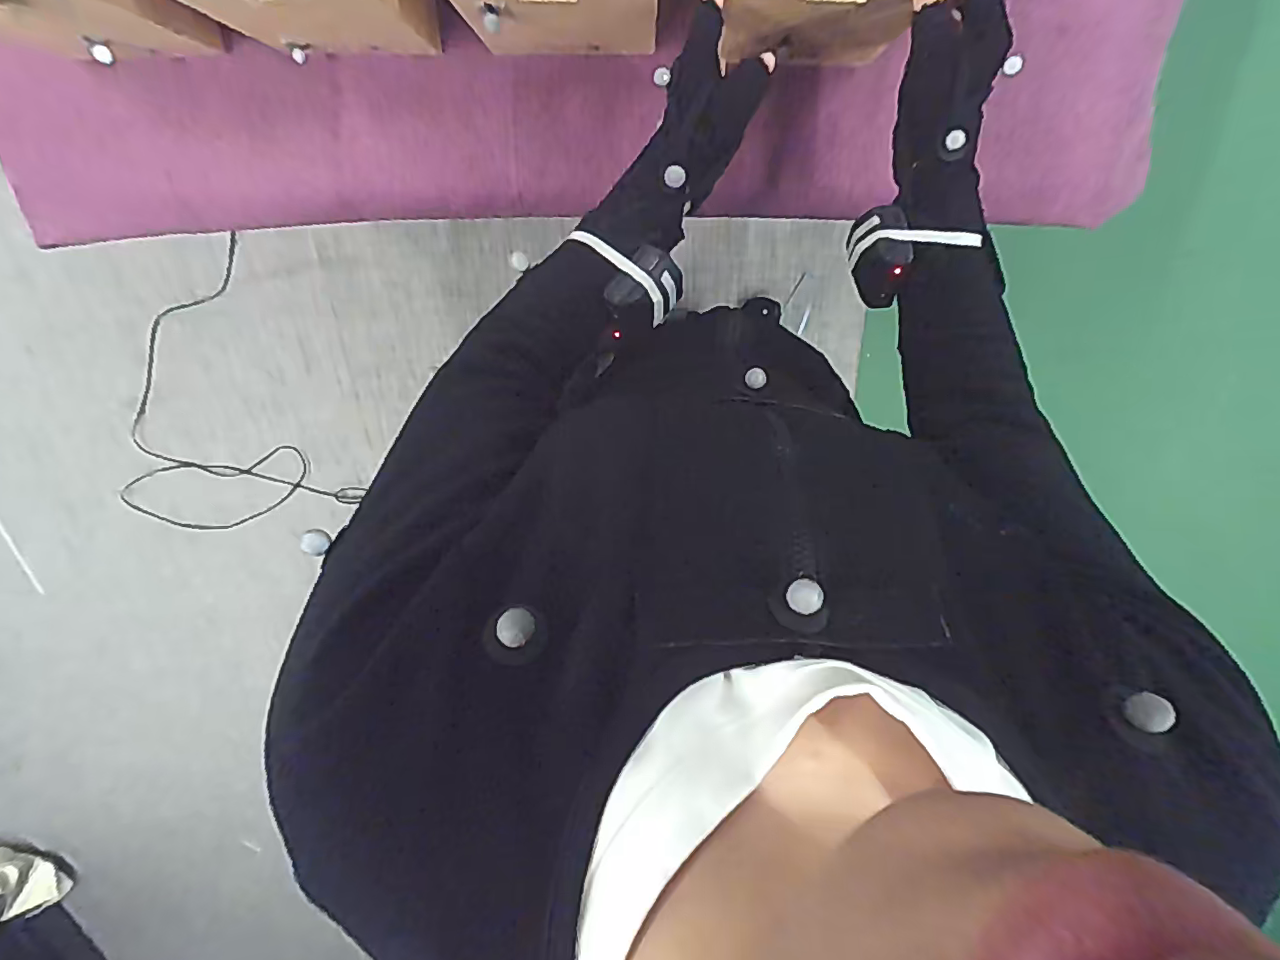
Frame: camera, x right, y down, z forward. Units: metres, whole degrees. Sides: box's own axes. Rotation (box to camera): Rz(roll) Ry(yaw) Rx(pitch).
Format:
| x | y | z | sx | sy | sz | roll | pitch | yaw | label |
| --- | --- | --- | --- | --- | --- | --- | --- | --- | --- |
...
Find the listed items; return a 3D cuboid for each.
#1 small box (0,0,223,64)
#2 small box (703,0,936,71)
| x | y | z | sx | sy | sz | roll | pitch | yaw | label |
| --- | --- | --- | --- | --- | --- | --- | --- | --- | --- |
| -0.503 | -0.477 | 0.448 | 0.168 | 0.176 | 0.179 | 0 | 114 | 1 | small box |
| 0.146 | -0.472 | 0.446 | 0.168 | 0.176 | 0.179 | 2 | 114 | 0 | small box |
